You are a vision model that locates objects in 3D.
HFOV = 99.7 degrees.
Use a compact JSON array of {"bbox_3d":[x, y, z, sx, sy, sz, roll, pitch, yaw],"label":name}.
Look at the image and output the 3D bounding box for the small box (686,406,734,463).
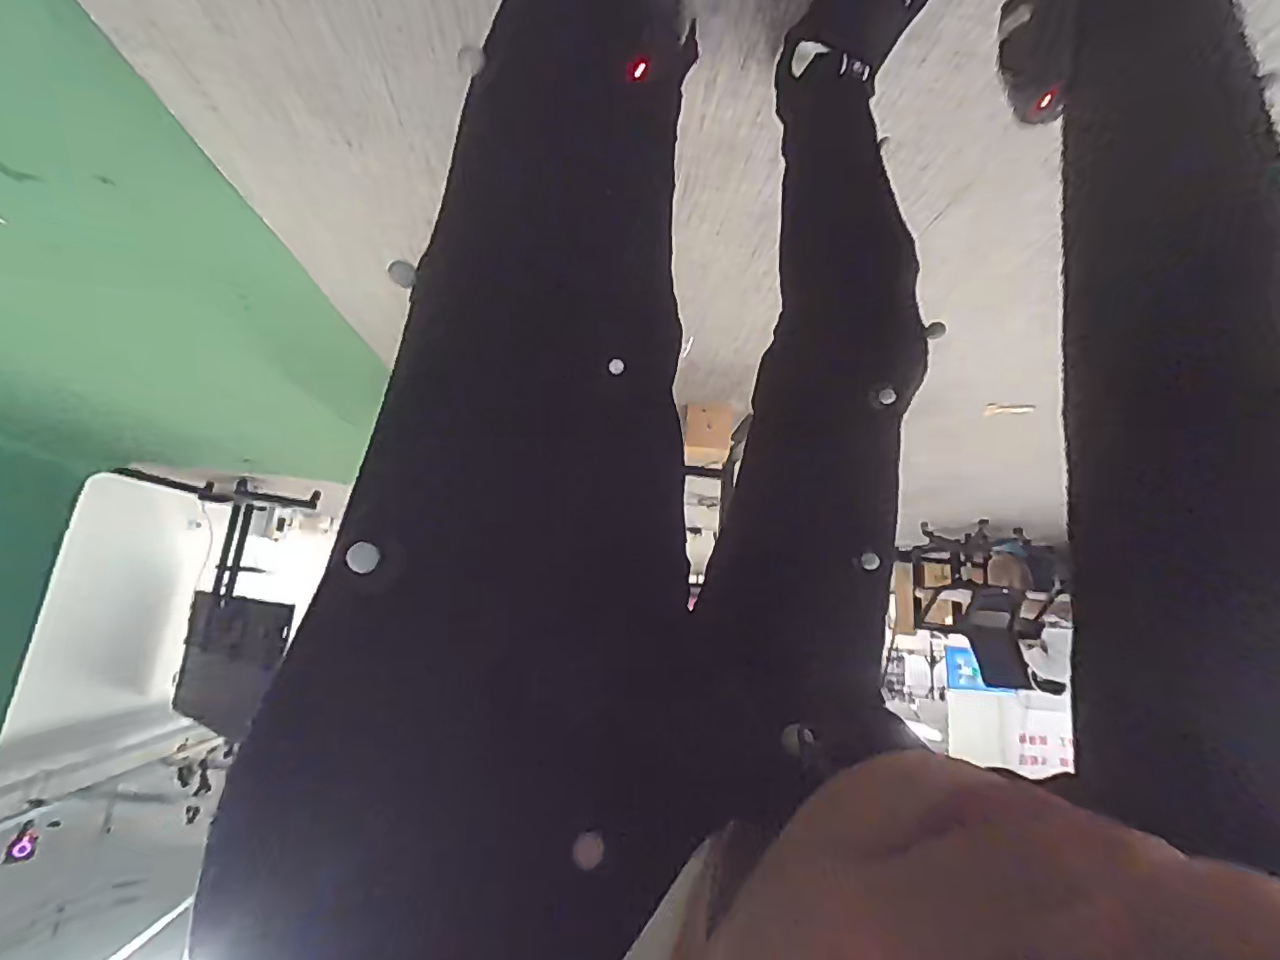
[{"bbox_3d":[0.261,-0.171,2.034,0.168,0.176,0.179,4,167,4],"label":"small box"}]
